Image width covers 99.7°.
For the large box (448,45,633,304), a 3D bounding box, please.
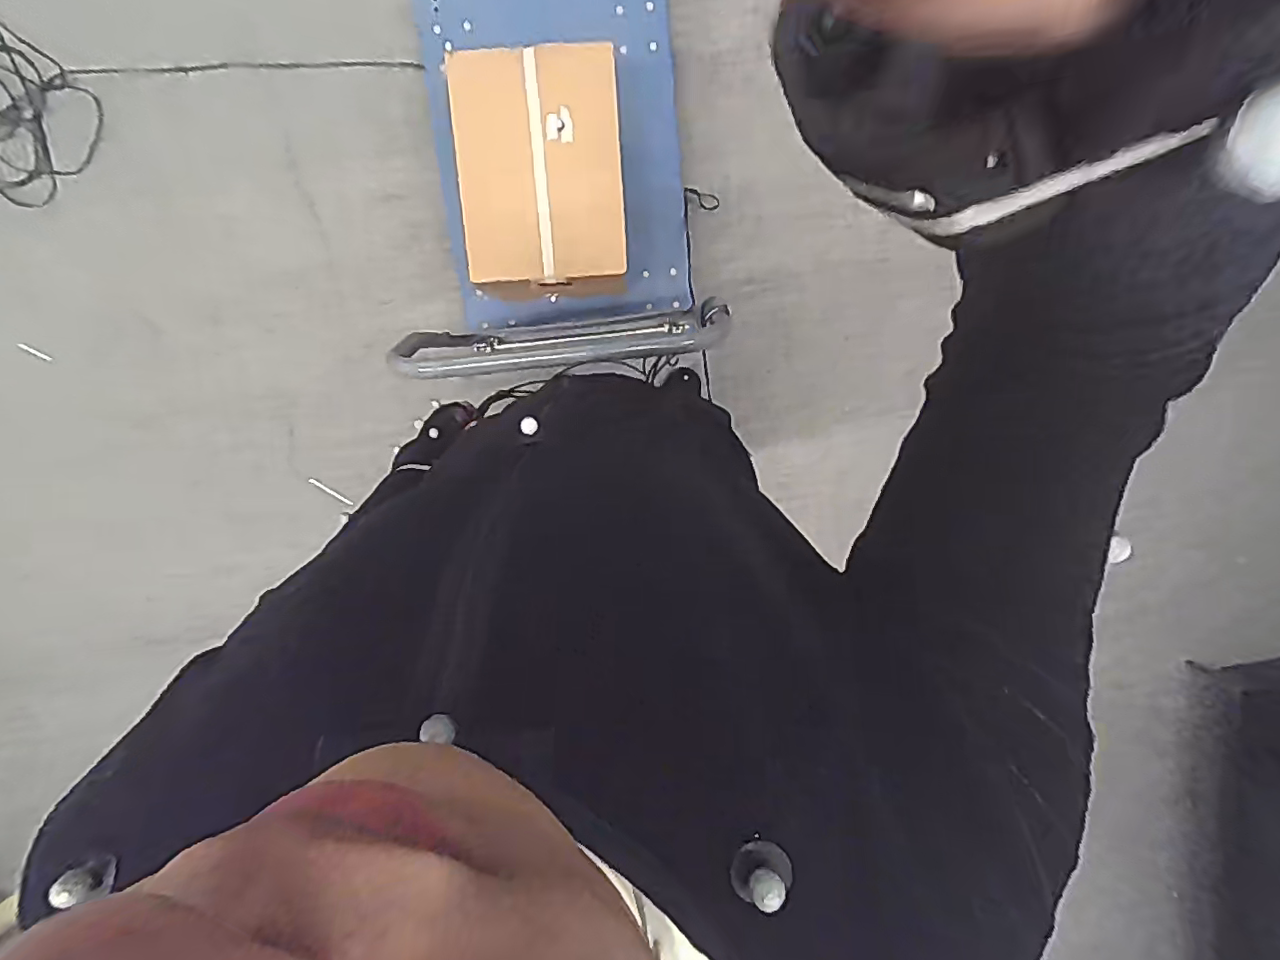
[{"bbox_3d":[-0.184,-0.614,1.165,0.320,0.320,0.408,-4,101,-1],"label":"large box"}]
